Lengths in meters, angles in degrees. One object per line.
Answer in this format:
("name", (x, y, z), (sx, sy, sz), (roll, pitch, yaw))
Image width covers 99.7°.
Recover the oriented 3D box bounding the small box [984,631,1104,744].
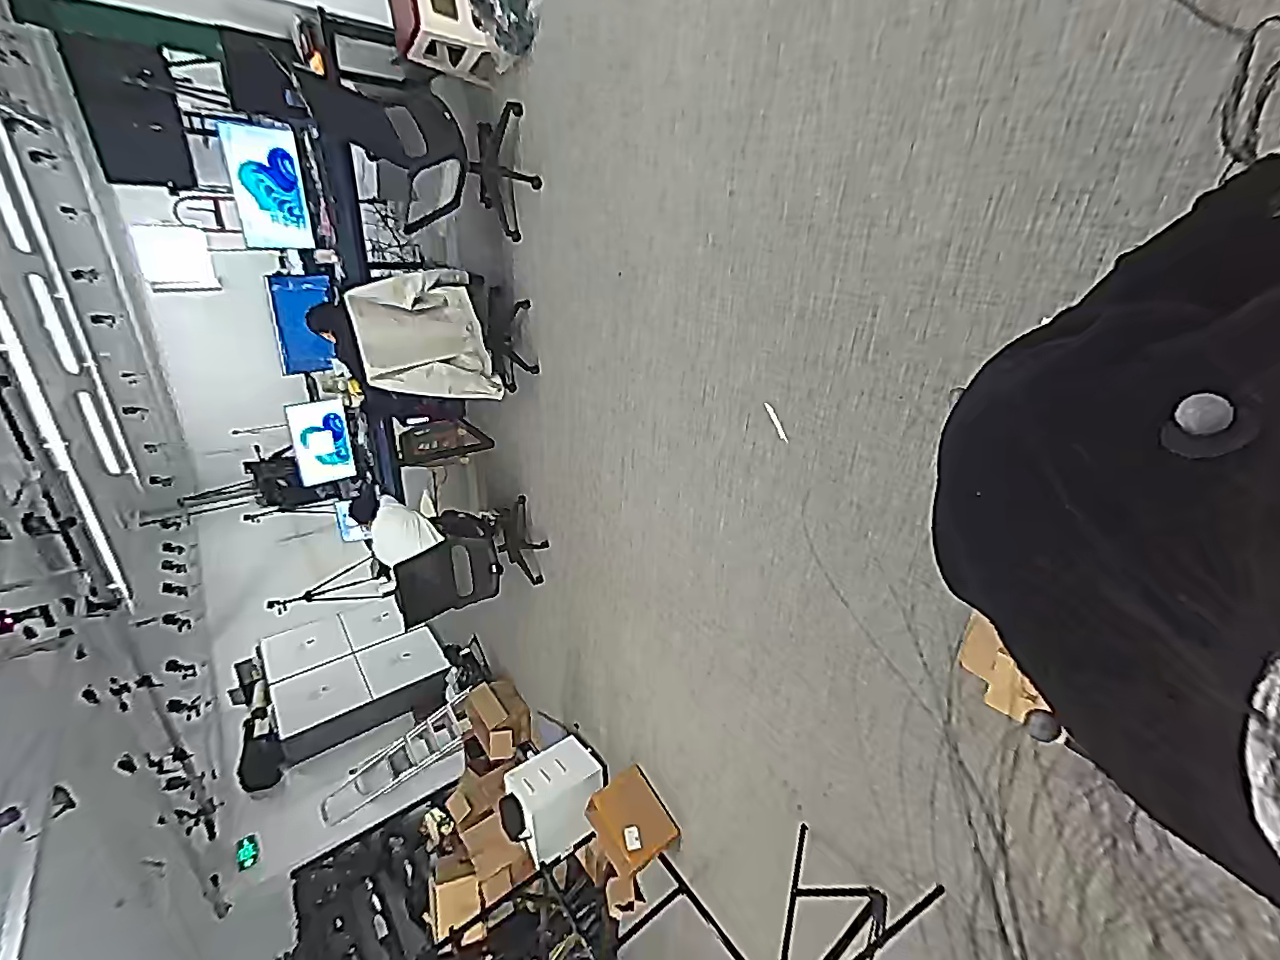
("small box", (0.994, 0.499, 1.333), (0.179, 0.176, 0.168), (25, 124, 47))
